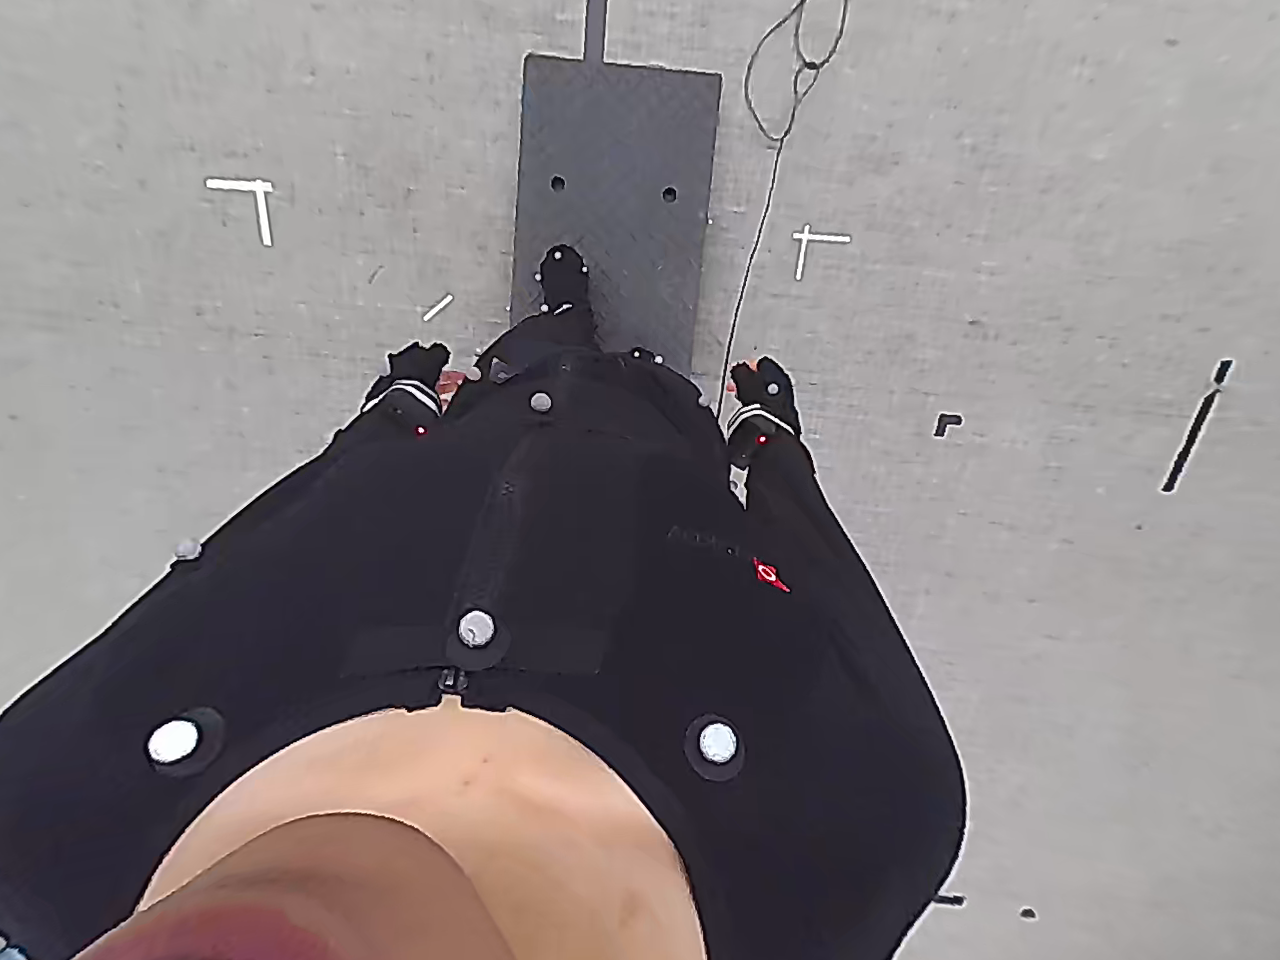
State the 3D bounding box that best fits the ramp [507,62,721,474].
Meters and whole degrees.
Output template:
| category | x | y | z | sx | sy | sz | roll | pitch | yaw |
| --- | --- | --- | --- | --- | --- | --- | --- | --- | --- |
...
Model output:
| category | x | y | z | sx | sy | sz | roll | pitch | yaw |
| --- | --- | --- | --- | --- | --- | --- | --- | --- | --- |
| ramp | -0.082 | -0.526 | 1.409 | 0.509 | 0.206 | 0.991 | 4 | 108 | 1 |
